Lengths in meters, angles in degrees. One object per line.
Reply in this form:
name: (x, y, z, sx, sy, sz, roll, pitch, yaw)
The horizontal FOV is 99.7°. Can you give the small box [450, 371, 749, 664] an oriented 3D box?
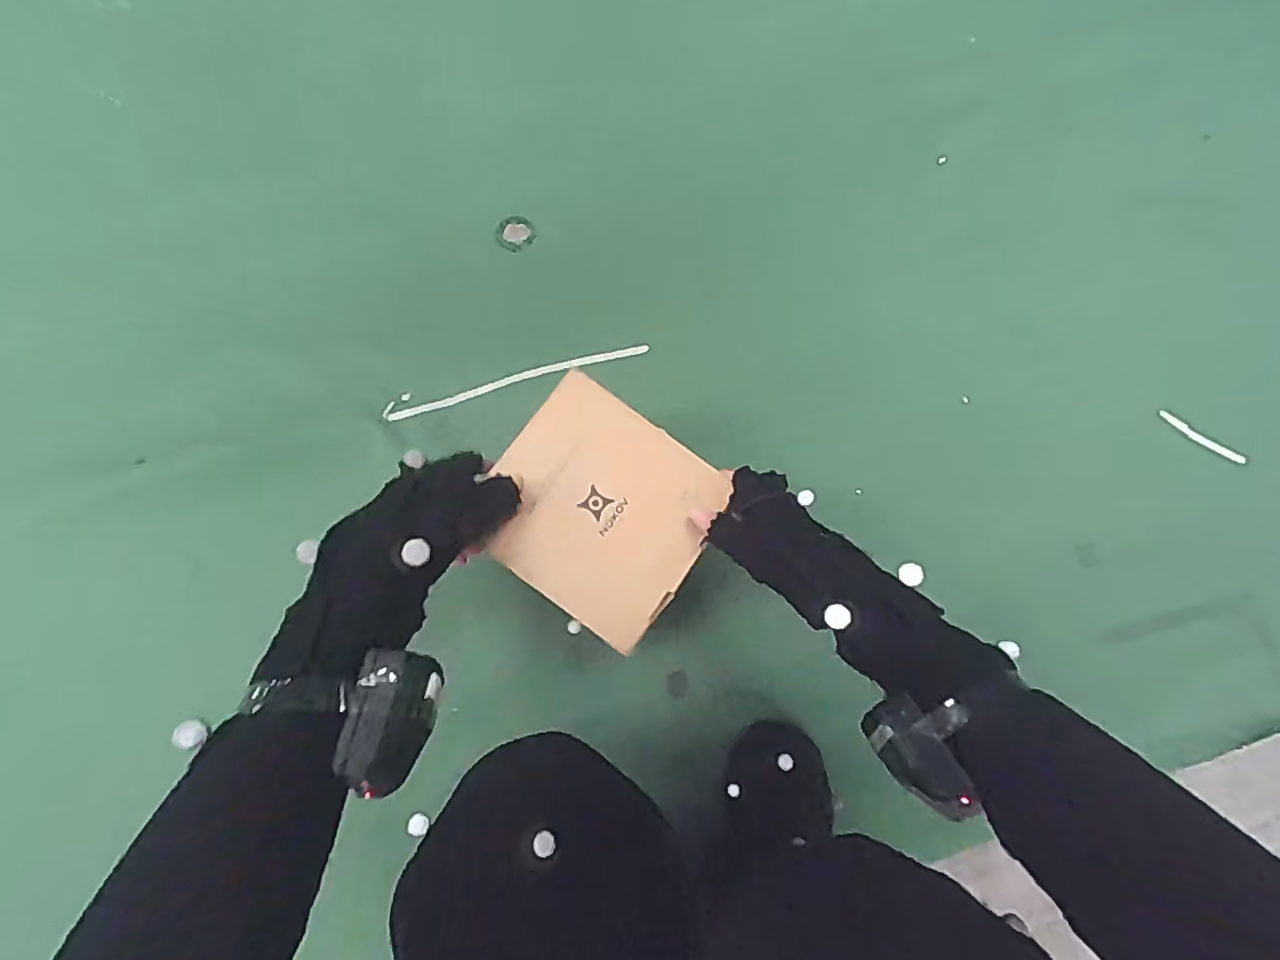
small box: (-0.036, 0.037, 0.493, 0.179, 0.176, 0.168, 35, 77, 0)
